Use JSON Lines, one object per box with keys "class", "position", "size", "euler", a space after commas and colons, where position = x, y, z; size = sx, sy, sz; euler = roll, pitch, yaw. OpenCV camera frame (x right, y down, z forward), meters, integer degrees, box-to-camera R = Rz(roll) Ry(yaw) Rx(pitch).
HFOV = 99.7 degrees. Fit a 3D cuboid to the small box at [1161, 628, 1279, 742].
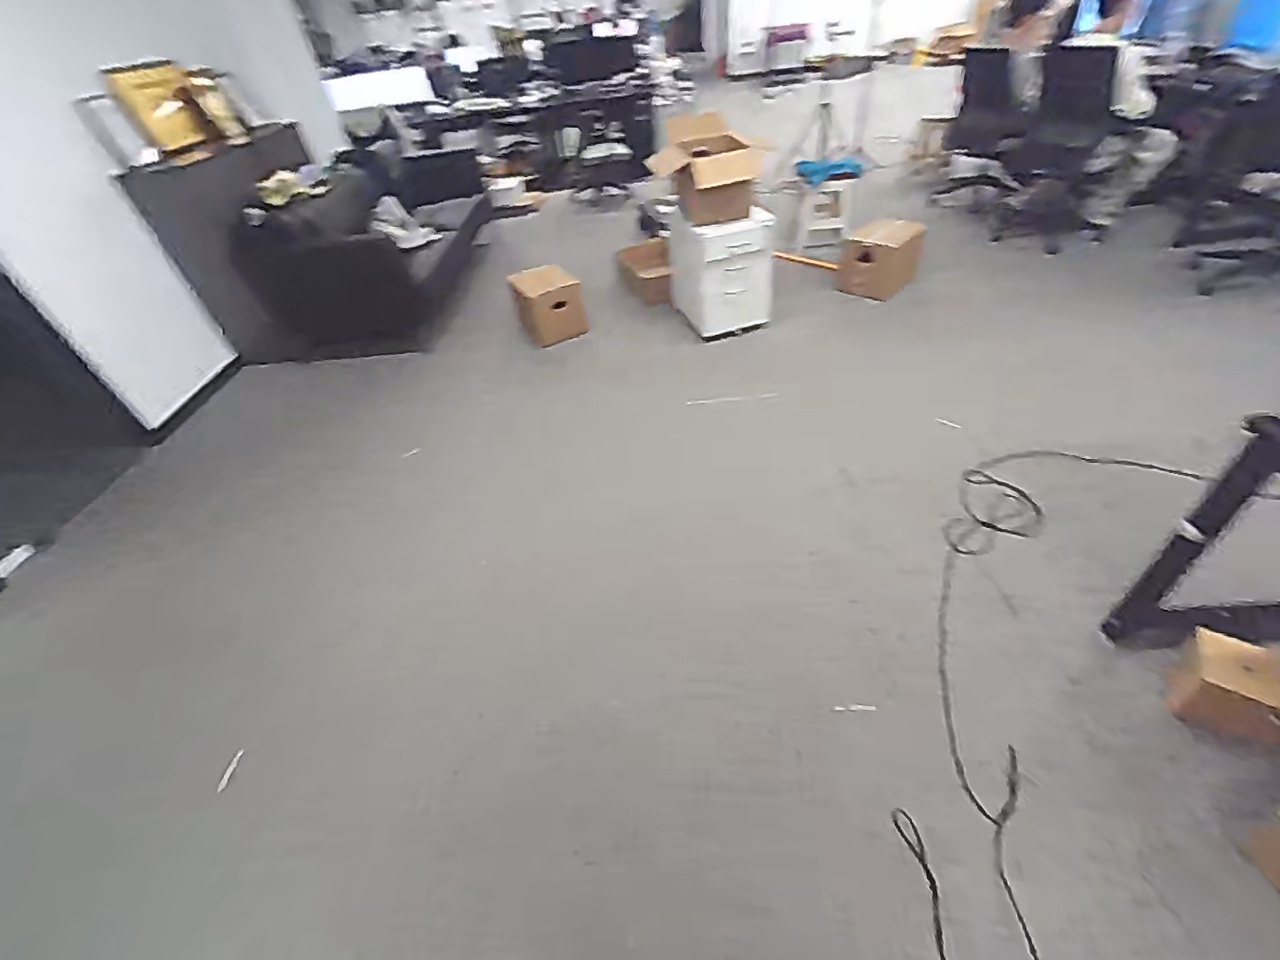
{"class": "small box", "position": [1.430, 0.507, 1.331], "size": [0.179, 0.176, 0.168], "euler": [20, 48, 28]}
